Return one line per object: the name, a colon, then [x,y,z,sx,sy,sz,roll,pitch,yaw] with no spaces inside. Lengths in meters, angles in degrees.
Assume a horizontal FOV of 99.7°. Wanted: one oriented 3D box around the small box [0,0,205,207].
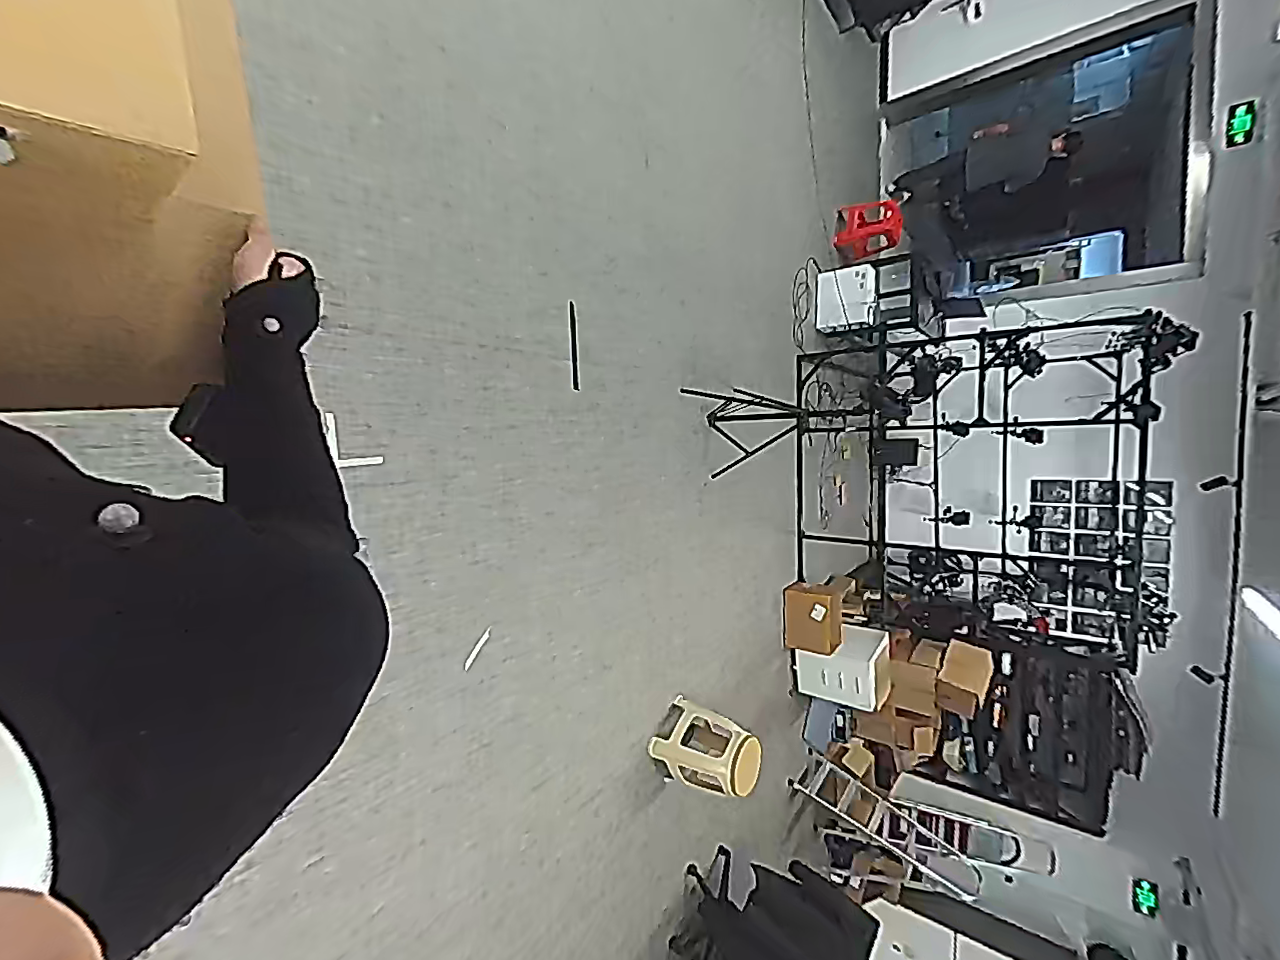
small box: [-0.438,-0.307,0.370,0.179,0.176,0.168,-12,102,-49]
